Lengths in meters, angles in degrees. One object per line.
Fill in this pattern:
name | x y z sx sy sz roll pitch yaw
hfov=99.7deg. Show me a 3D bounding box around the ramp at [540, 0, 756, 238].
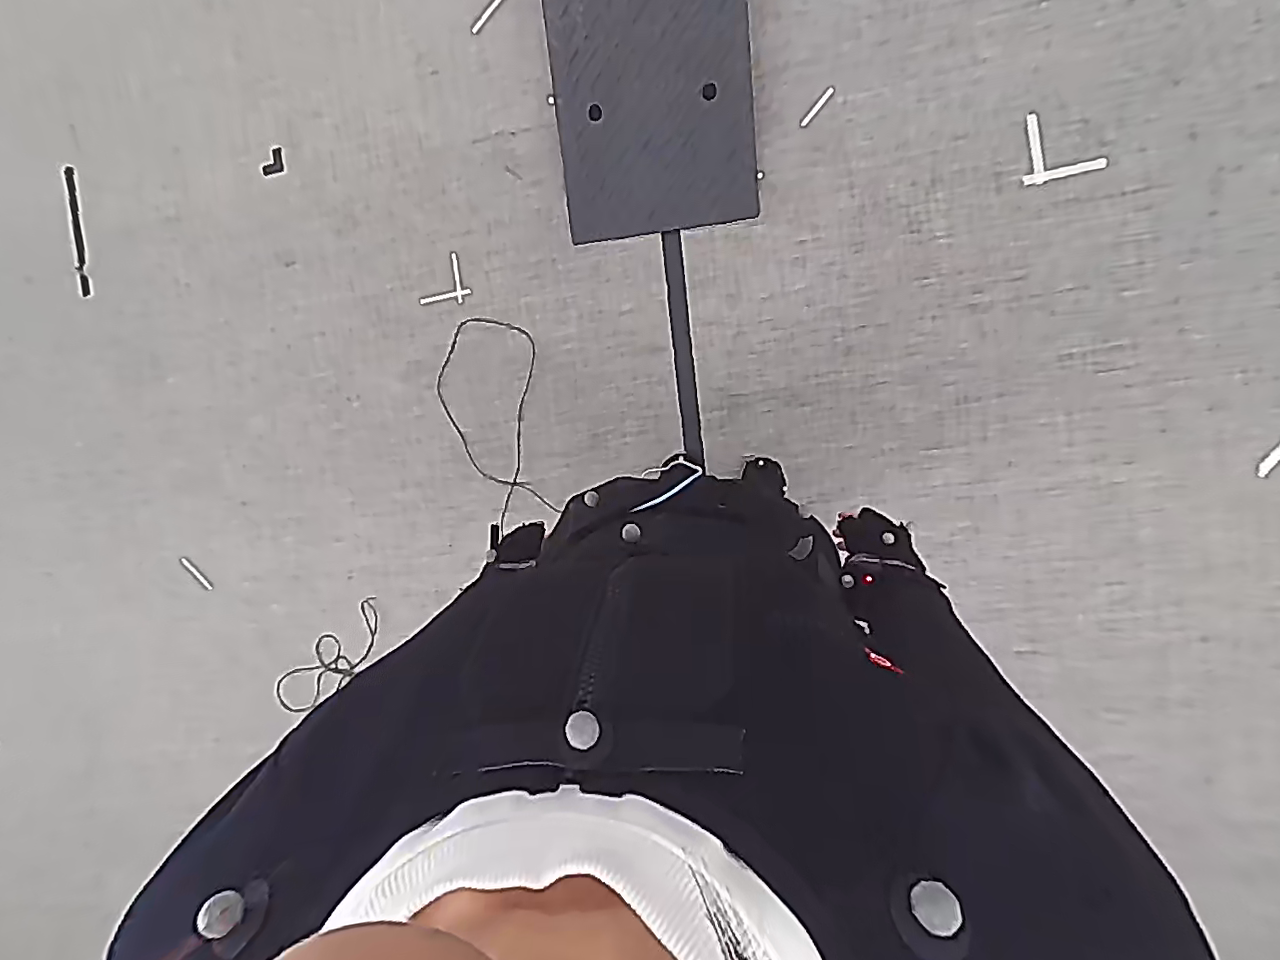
ramp | 0.002 -1.141 1.280 0.509 0.206 0.991 -6 94 9
